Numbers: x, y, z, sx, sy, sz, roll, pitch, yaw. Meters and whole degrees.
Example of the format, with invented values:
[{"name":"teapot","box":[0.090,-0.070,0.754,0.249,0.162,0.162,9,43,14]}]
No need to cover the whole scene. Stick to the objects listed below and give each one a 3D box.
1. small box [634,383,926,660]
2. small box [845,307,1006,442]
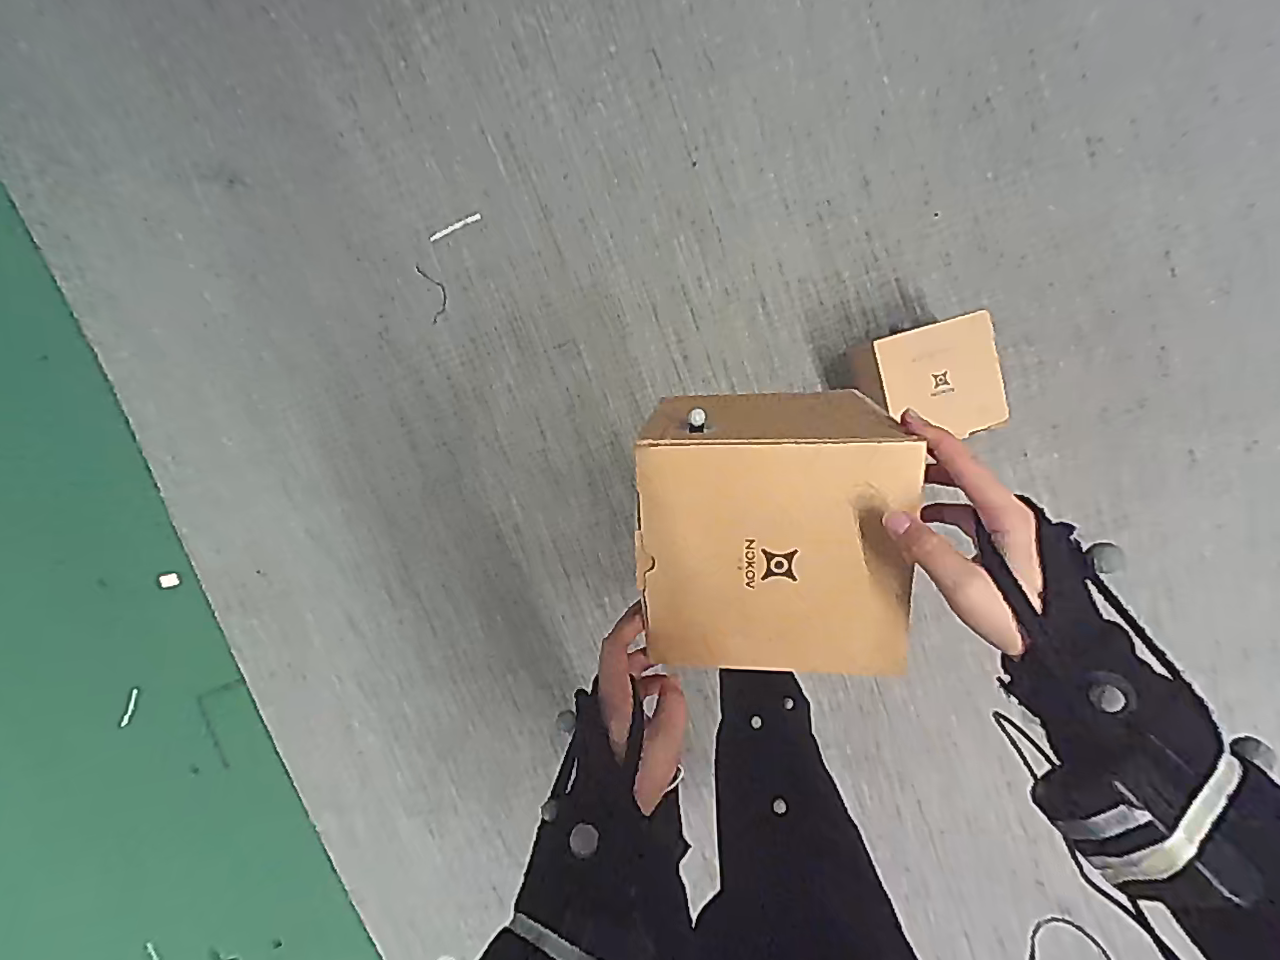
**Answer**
[{"name":"small box","box":[0.097,0.019,0.427,0.179,0.176,0.168,-1,109,10]},{"name":"small box","box":[0.451,-0.162,0.880,0.168,0.176,0.179,-15,96,8]}]
